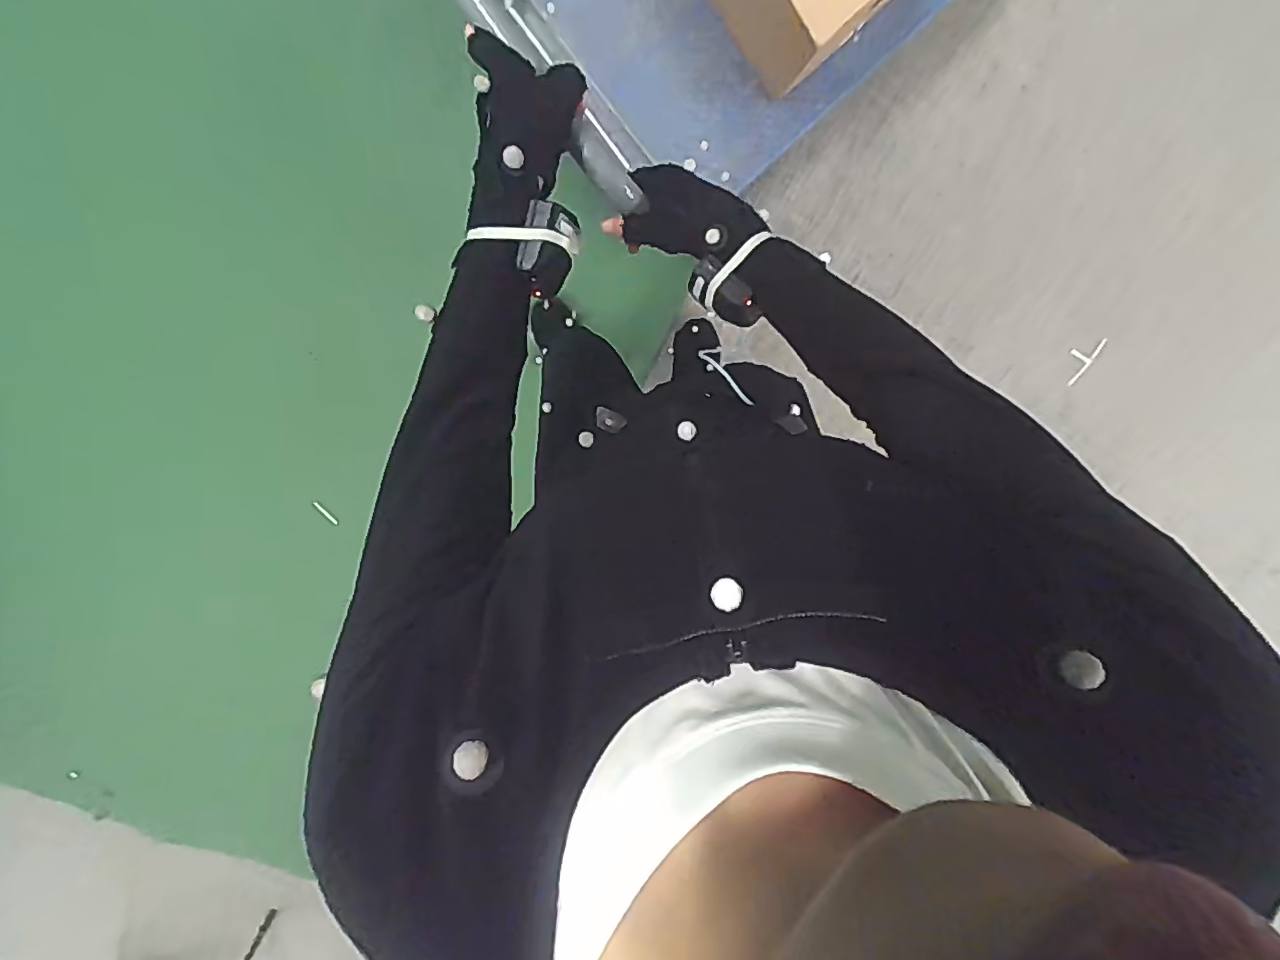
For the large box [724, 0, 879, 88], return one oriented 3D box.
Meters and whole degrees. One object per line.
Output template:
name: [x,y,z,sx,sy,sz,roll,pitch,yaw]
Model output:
large box: [0.250,-0.909,0.796,0.320,0.320,0.408,-37,106,15]
